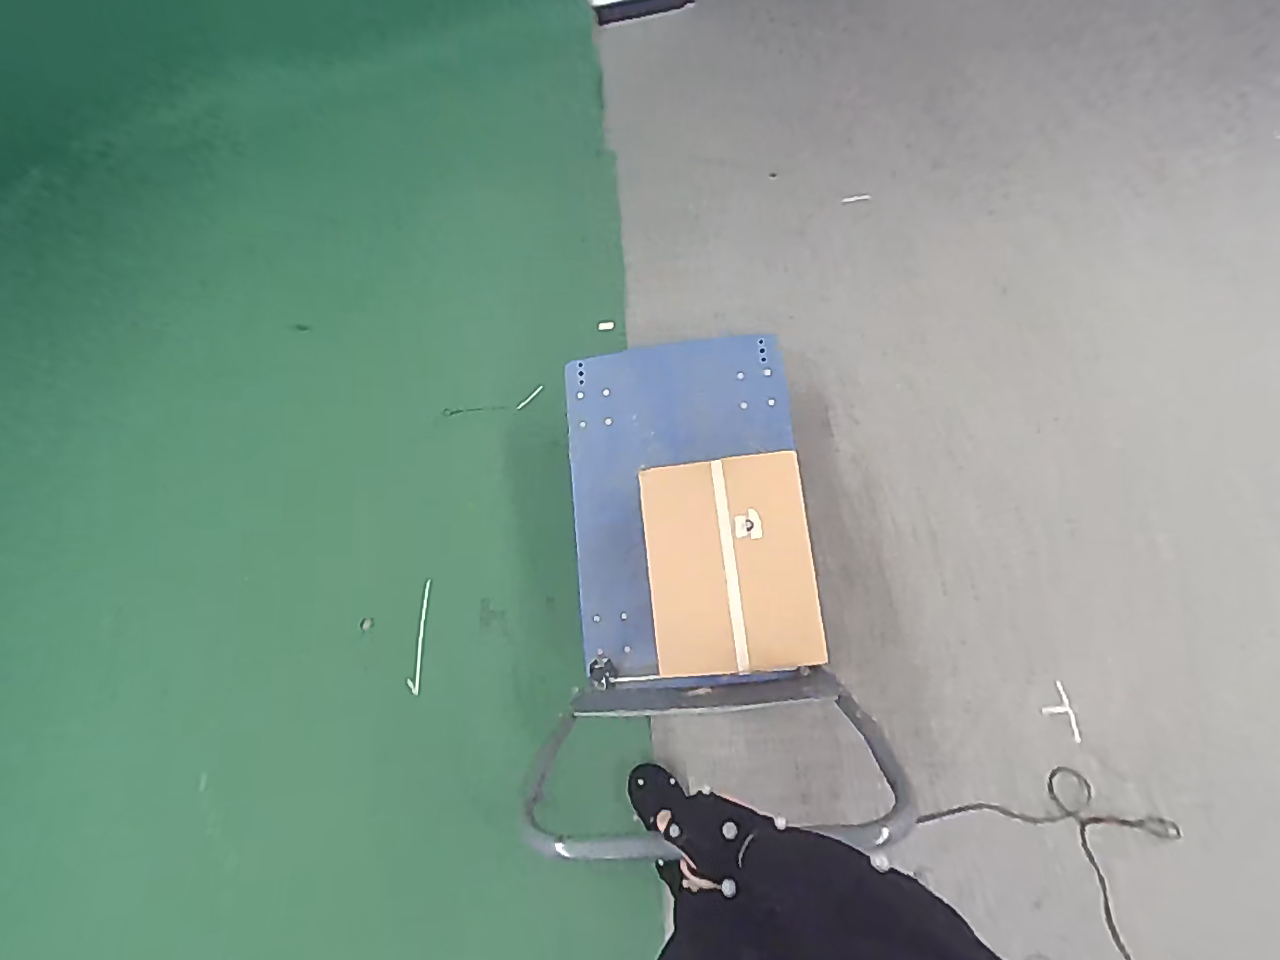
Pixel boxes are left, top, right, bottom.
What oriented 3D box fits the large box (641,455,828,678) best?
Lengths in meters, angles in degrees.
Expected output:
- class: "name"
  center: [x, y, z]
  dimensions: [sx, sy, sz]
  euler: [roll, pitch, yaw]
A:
- class: "large box"
  center: [0.193, 0.189, 1.188]
  dimensions: [0.320, 0.320, 0.408]
  euler: [-7, 80, 5]
